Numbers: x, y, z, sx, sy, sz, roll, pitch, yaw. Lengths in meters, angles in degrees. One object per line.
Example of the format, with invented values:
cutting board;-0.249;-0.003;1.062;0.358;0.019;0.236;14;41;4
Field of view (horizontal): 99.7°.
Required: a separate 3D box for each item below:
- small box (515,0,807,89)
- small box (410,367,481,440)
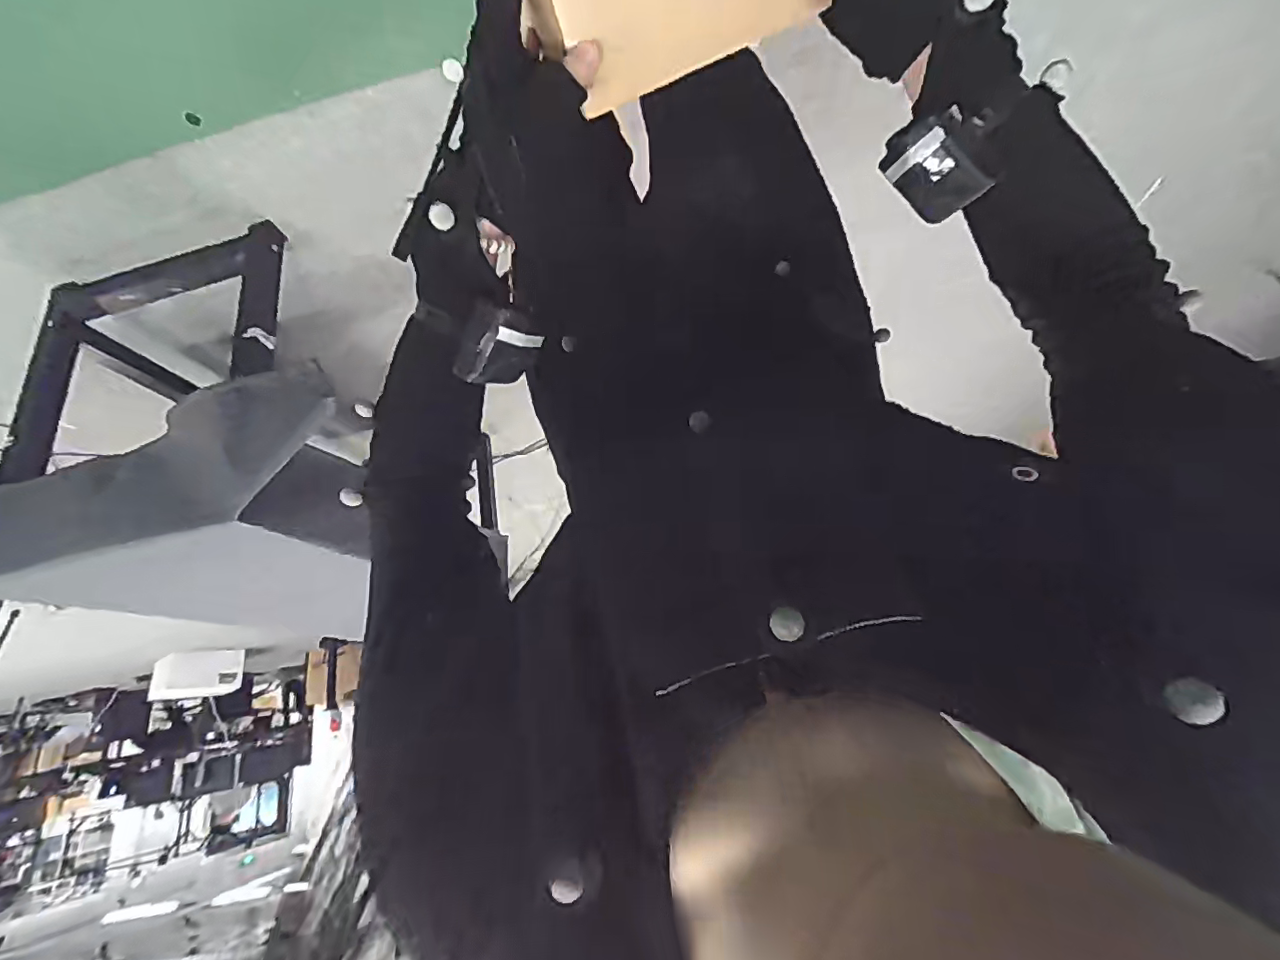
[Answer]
small box;-0.002;-0.368;0.307;0.179;0.176;0.168;-26;145;-3
small box;-0.655;-0.261;1.820;0.179;0.176;0.168;-12;158;1
